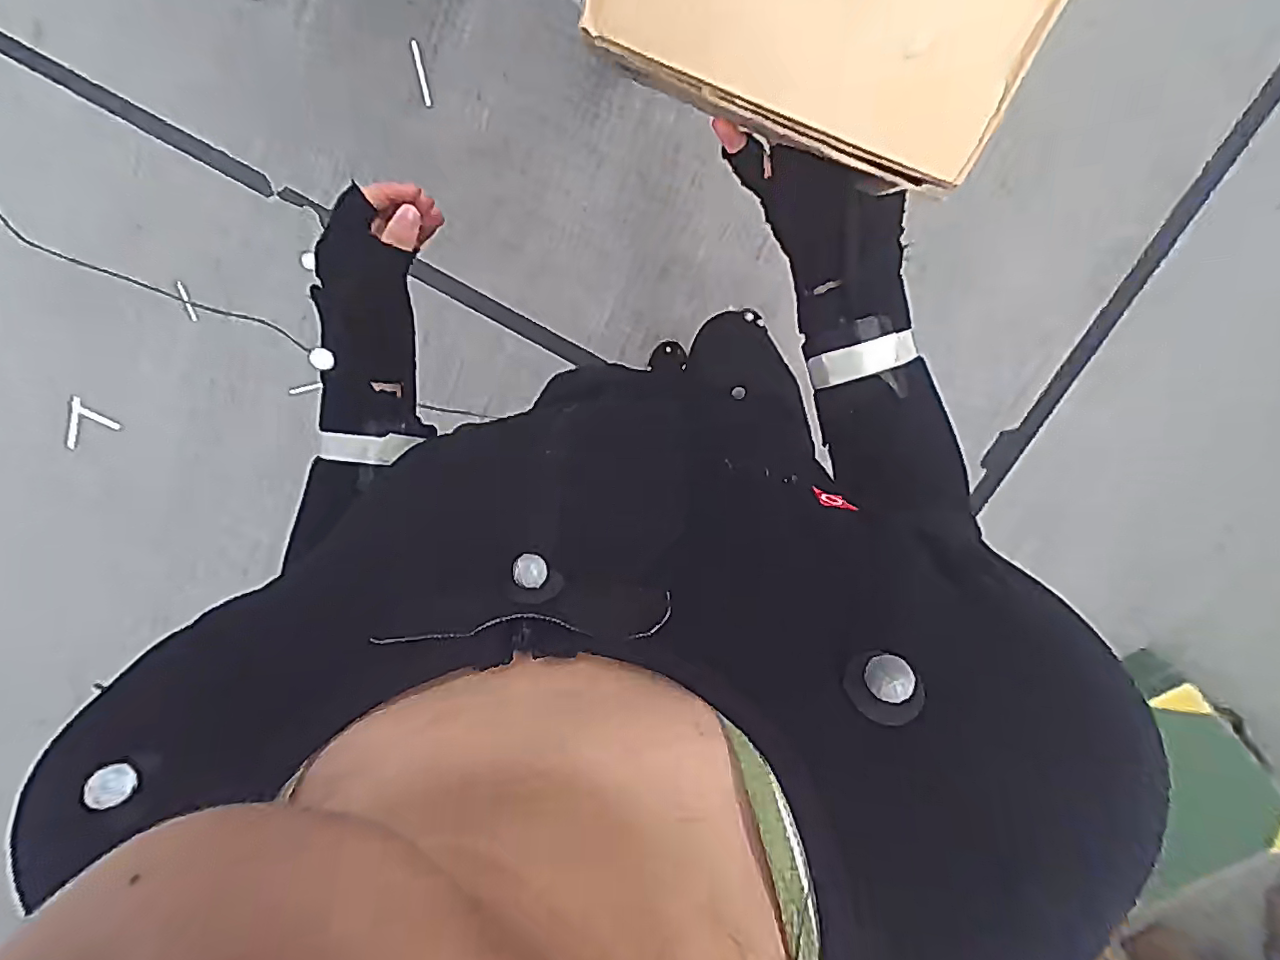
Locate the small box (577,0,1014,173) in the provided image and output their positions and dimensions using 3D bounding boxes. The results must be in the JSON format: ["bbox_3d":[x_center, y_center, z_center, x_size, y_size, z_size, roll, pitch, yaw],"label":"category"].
[{"bbox_3d":[0.078,-0.268,0.250,0.179,0.168,0.176,14,122,-11],"label":"small box"}]
